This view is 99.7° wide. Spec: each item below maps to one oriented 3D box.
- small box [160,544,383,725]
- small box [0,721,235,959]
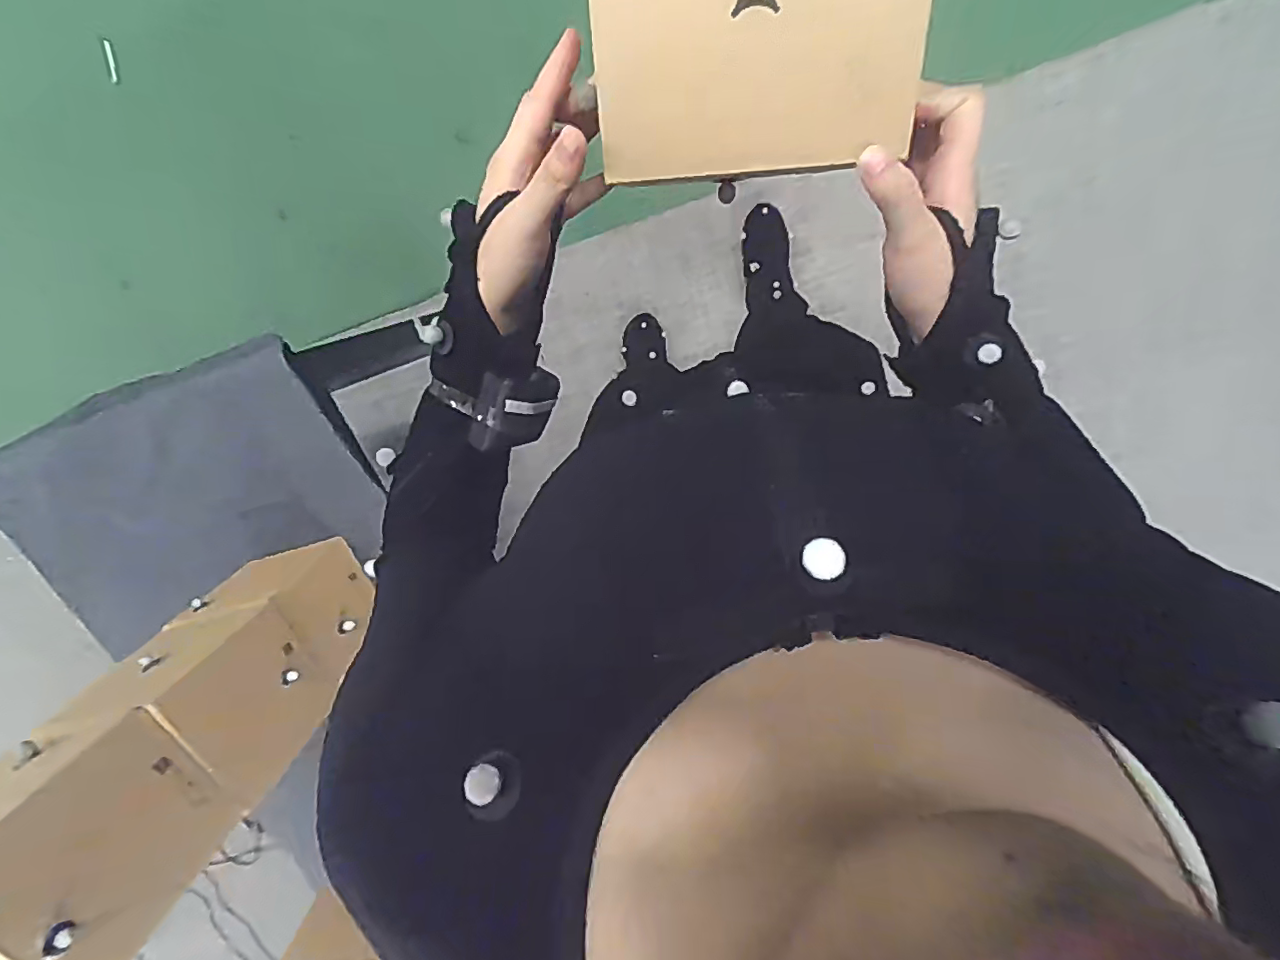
[{"bbox_3d":[-0.504,0.213,0.776,0.179,0.176,0.168,-16,112,11],"label":"small box"},{"bbox_3d":[-0.524,0.348,0.478,0.179,0.176,0.168,-19,111,13],"label":"small box"}]
